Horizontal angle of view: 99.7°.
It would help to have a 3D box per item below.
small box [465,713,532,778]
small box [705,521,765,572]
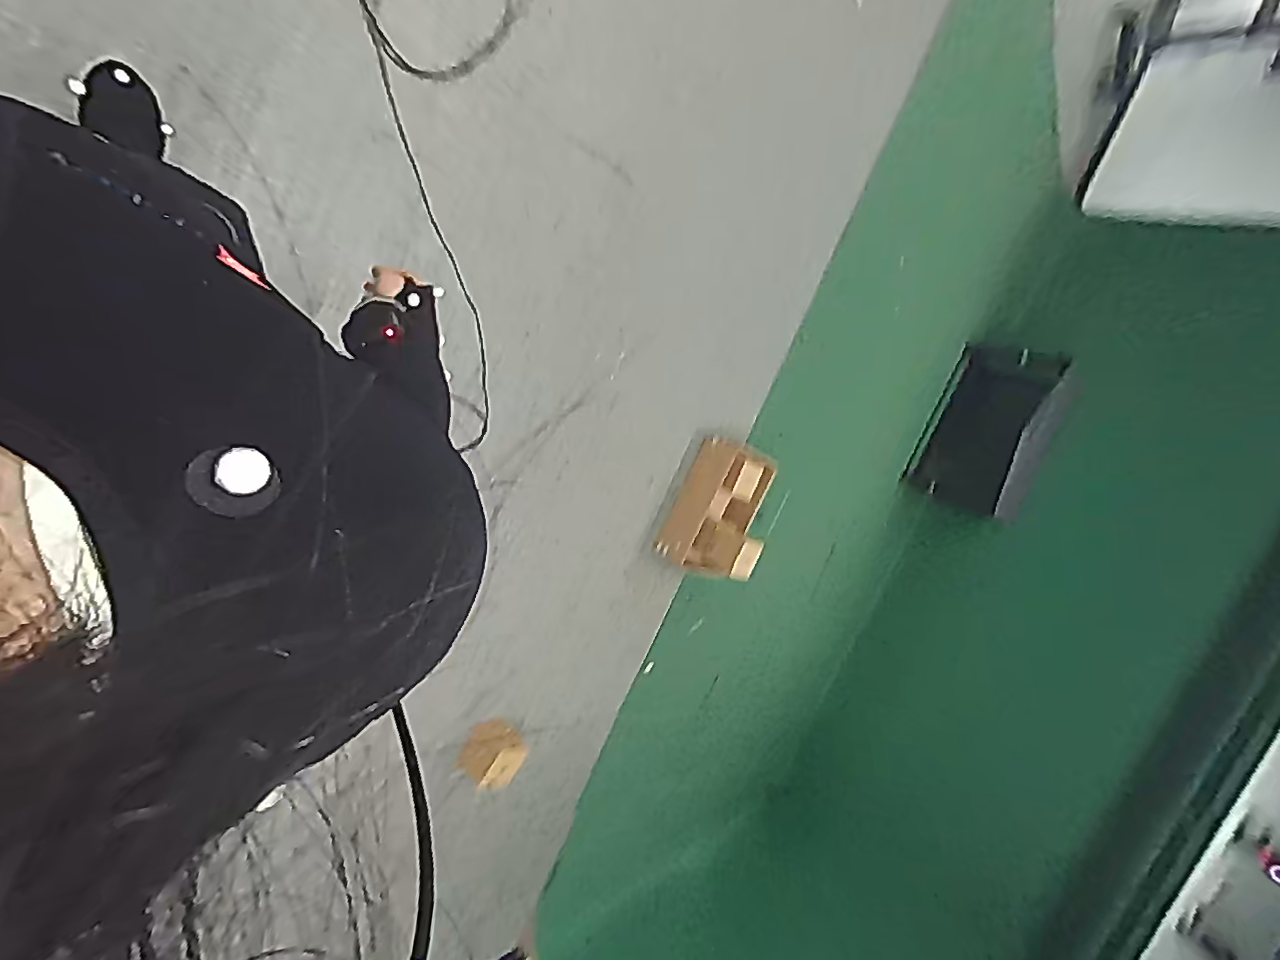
[{"bbox_3d":[-0.585,1.081,2.212,0.168,0.176,0.179,35,85,-49],"label":"small box"},{"bbox_3d":[0.428,0.299,2.448,0.179,0.176,0.168,19,97,-48],"label":"small box"}]
